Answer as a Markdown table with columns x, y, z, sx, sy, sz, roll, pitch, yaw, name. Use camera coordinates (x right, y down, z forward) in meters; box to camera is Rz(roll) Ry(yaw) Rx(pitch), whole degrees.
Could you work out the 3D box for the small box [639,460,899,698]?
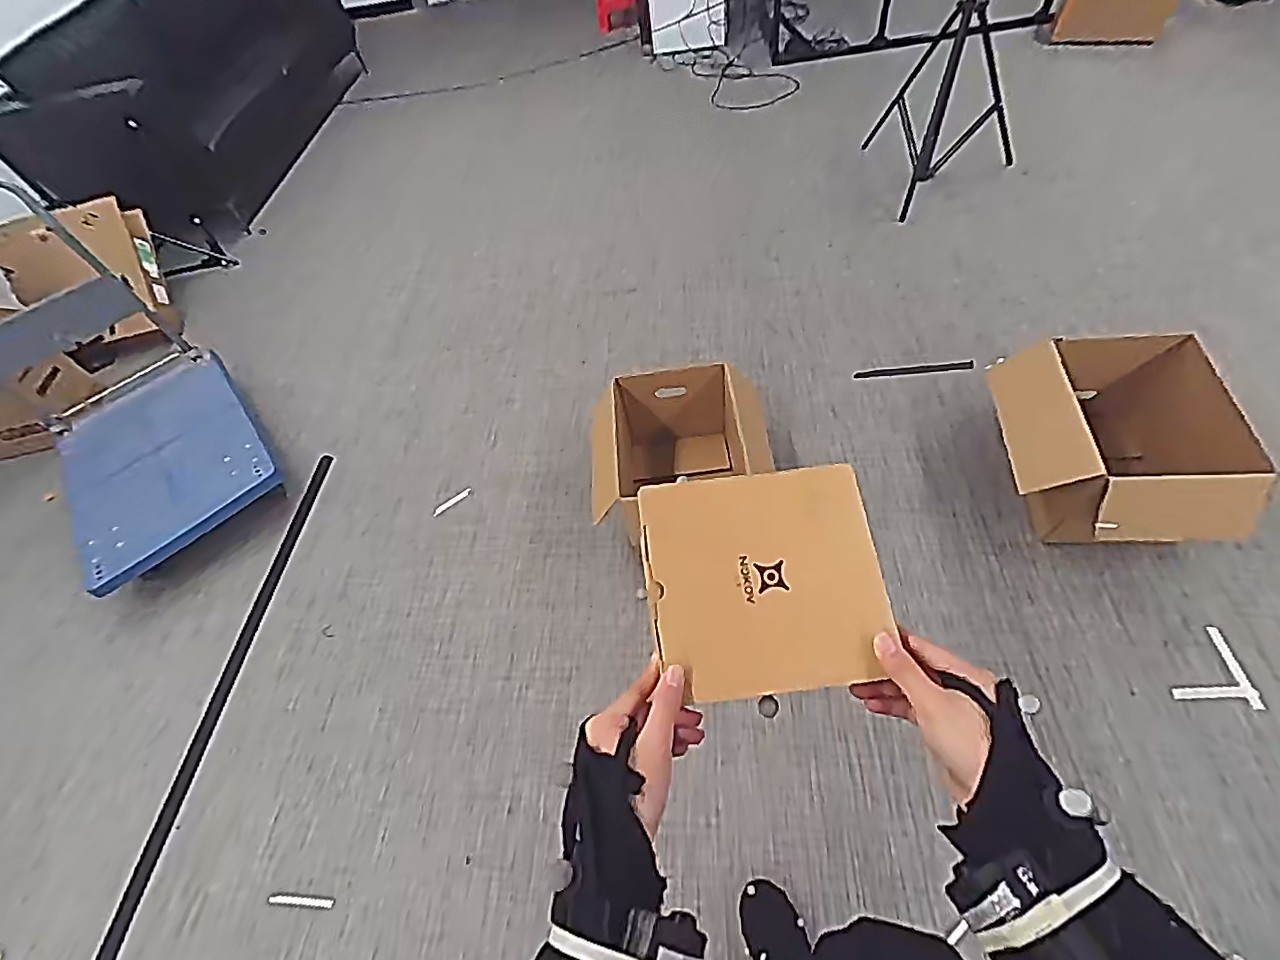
| x | y | z | sx | sy | sz | roll | pitch | yaw | name |
| --- | --- | --- | --- | --- | --- | --- | --- | --- | --- |
| 0.095 | 0.095 | 0.486 | 0.179 | 0.176 | 0.168 | -7 | 70 | 0 | small box |
